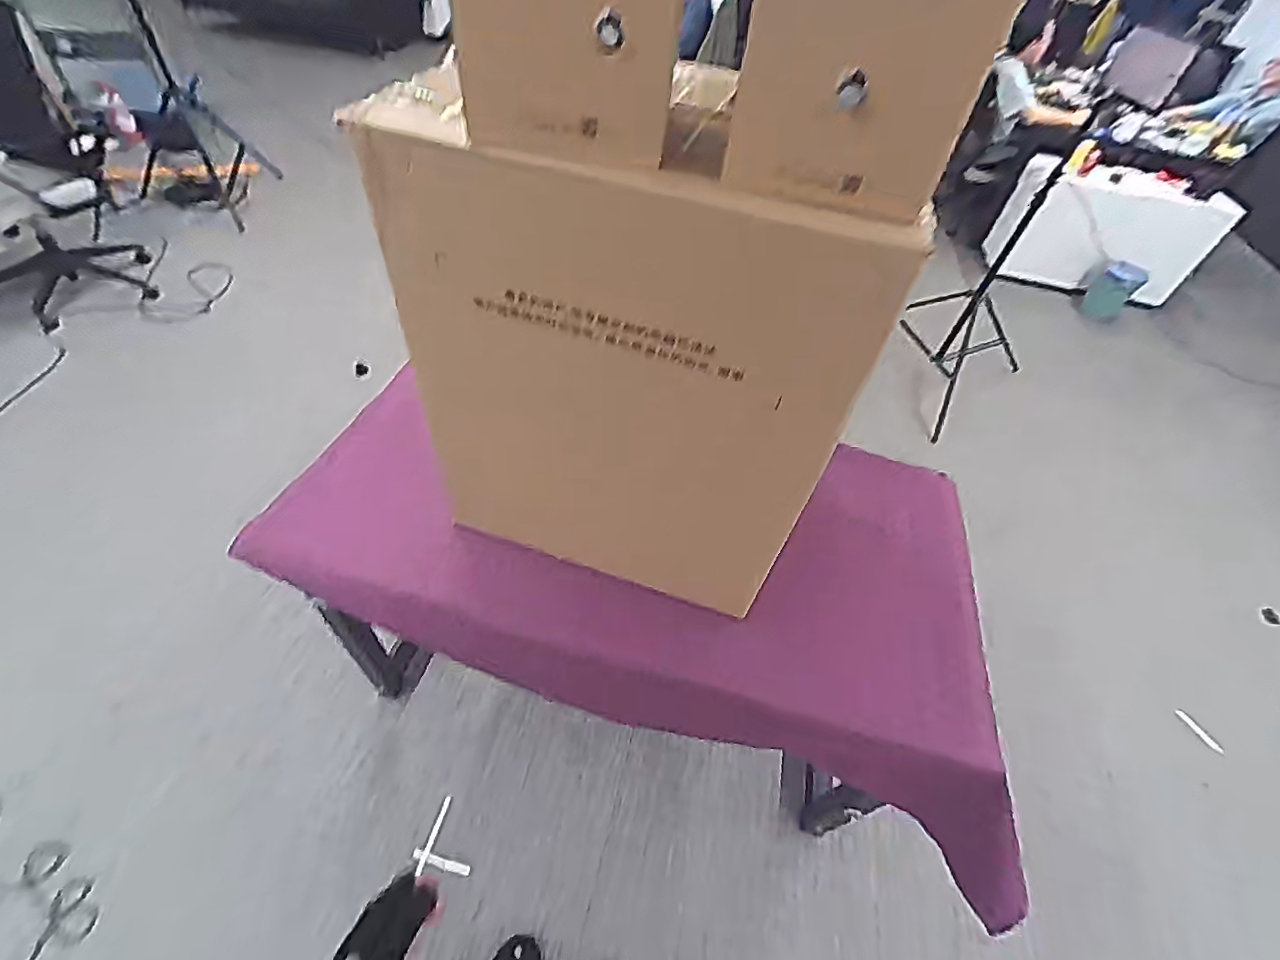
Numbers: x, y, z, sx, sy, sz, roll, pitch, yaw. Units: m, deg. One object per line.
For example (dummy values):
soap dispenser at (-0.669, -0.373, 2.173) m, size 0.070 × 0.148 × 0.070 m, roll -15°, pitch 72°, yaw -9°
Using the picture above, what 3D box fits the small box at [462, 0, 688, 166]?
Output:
small box at (-0.045, -0.392, 0.459) m, size 0.168 × 0.176 × 0.179 m, roll 8°, pitch 48°, yaw -2°

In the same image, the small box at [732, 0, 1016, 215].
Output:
small box at (0.181, -0.342, 0.440) m, size 0.168 × 0.176 × 0.179 m, roll 17°, pitch 50°, yaw 8°
